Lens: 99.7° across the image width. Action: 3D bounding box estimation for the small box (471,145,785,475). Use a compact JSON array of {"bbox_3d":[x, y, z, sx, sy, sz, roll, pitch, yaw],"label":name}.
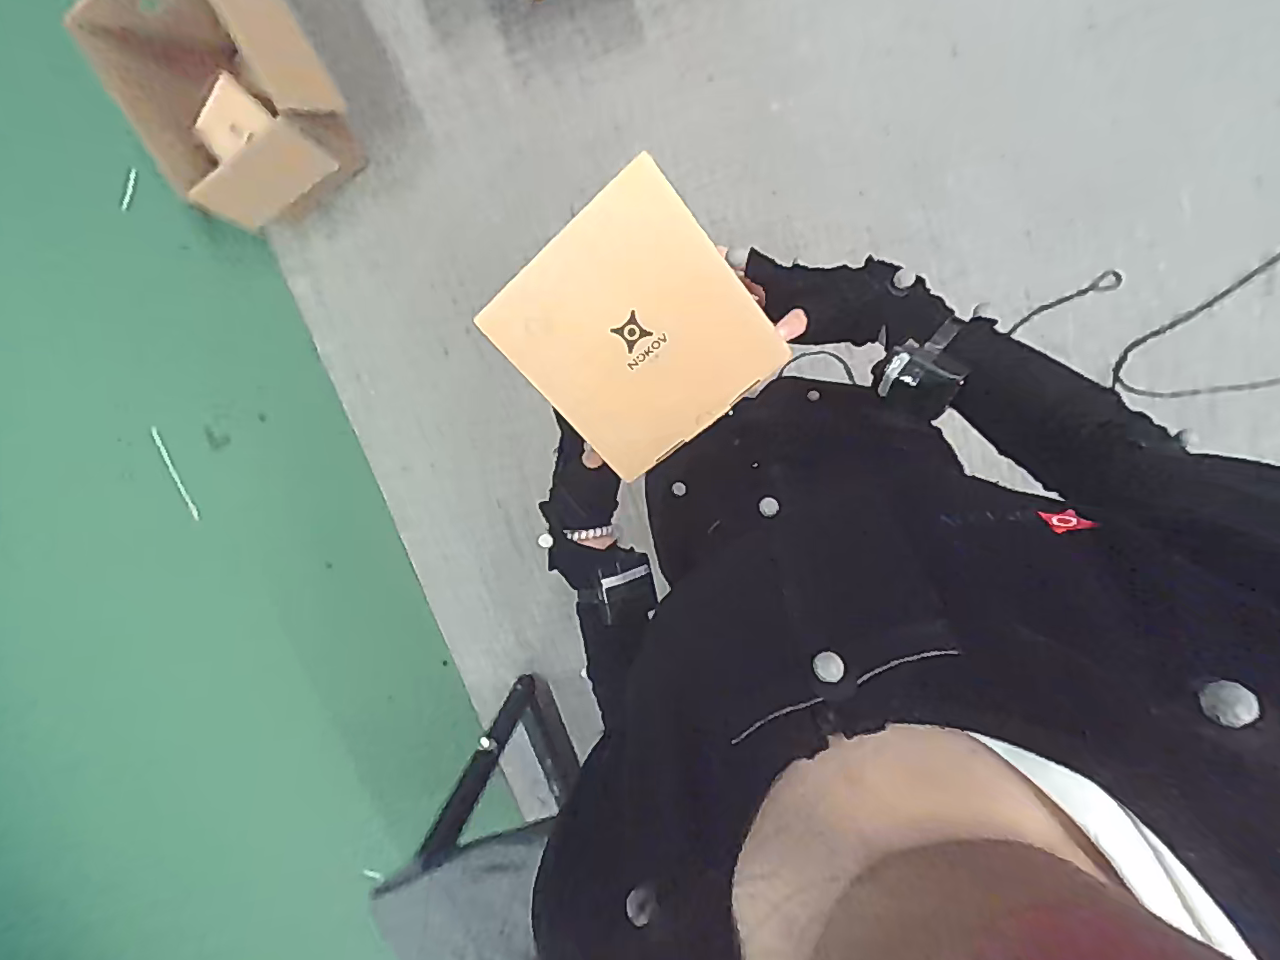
[{"bbox_3d":[-0.008,-0.140,0.466,0.168,0.176,0.179,-36,109,14],"label":"small box"}]
